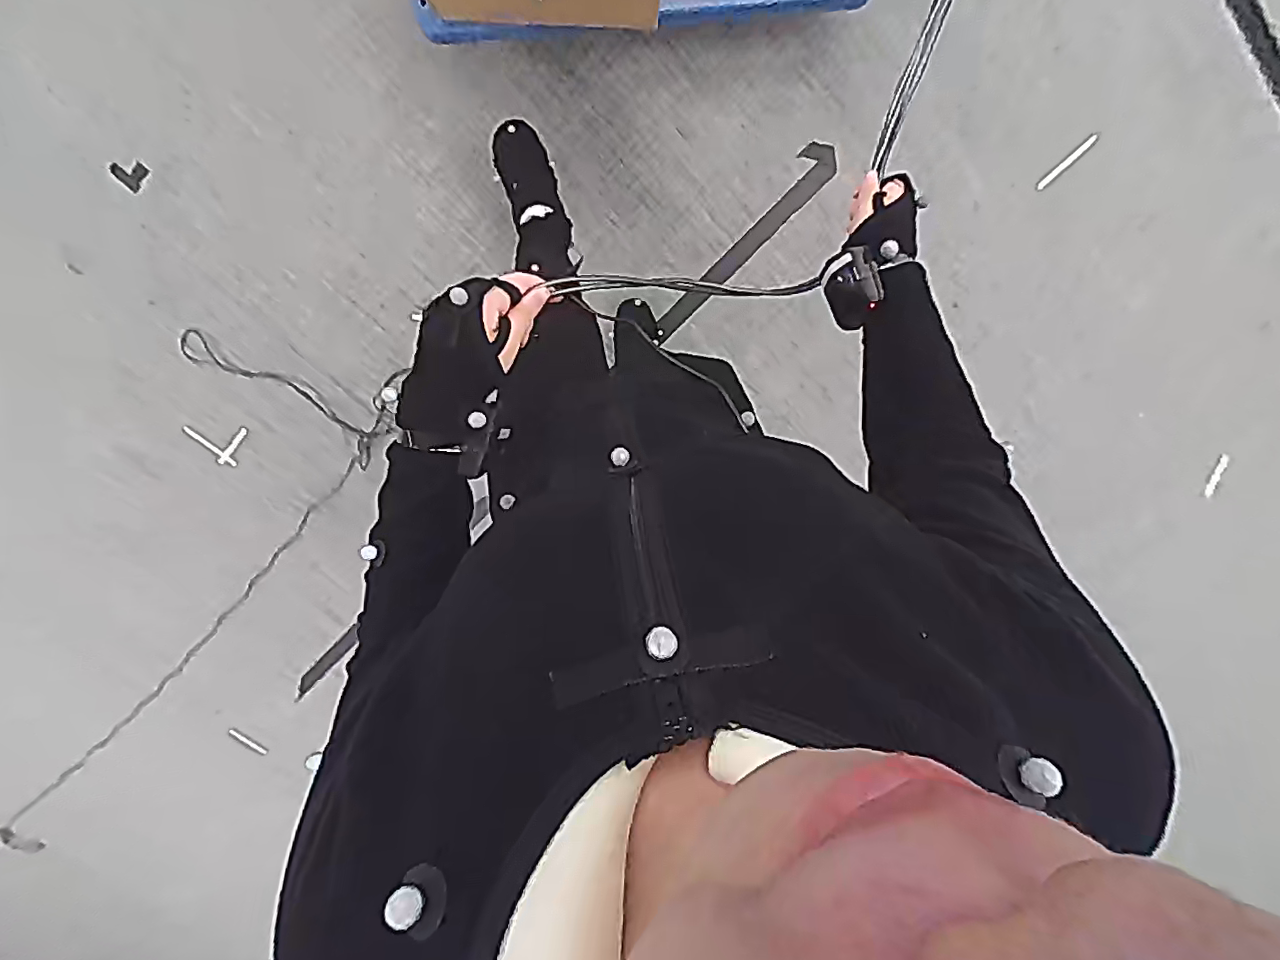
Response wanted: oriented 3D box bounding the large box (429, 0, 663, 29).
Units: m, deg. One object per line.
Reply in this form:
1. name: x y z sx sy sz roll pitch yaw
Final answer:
1. large box: -0.161 -0.936 0.822 0.408 0.320 0.320 1 109 0
